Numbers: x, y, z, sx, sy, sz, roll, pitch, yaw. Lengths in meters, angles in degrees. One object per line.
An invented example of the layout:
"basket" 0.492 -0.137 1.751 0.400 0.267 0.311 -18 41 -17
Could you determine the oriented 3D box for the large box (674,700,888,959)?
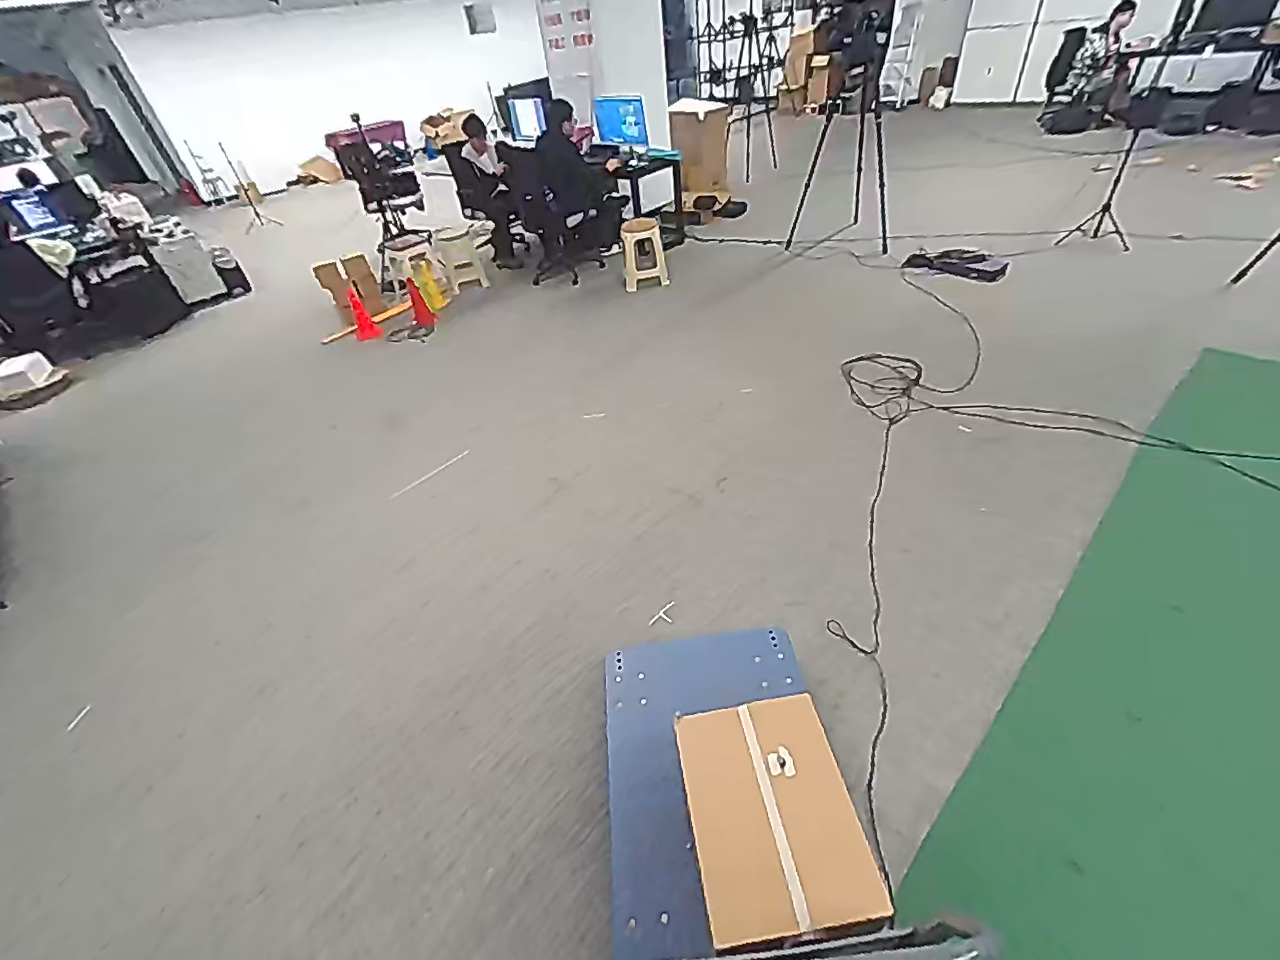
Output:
"large box" 0.271 0.763 1.168 0.320 0.320 0.408 -9 39 -2
